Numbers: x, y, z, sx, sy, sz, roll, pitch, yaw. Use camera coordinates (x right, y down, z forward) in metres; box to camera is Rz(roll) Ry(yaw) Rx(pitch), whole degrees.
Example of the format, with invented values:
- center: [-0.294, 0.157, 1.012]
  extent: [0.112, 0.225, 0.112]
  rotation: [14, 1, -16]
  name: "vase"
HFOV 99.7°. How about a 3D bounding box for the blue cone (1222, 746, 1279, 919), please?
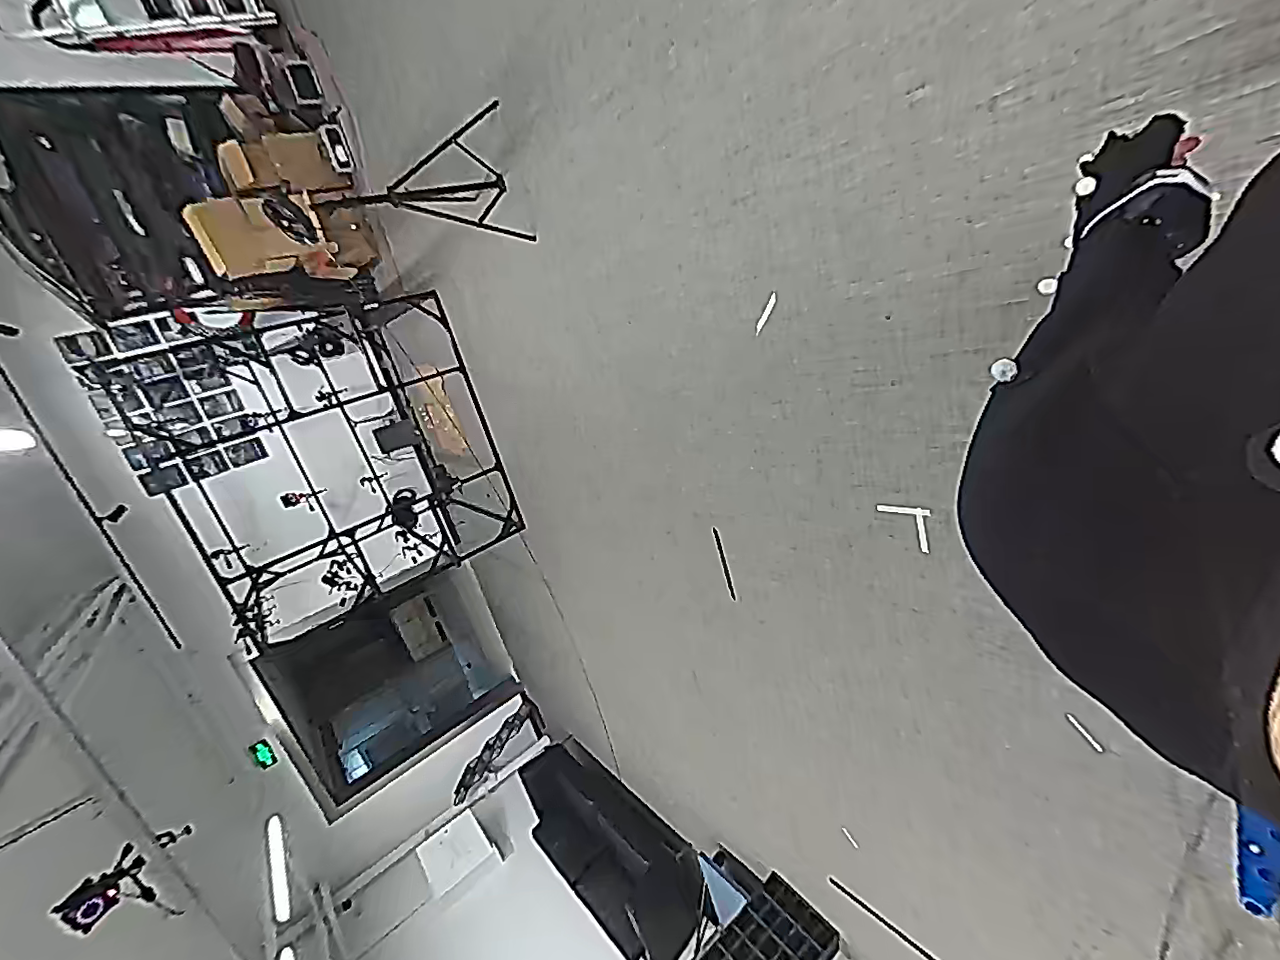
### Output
- center: [1.381, 0.780, 1.164]
  extent: [0.193, 0.380, 0.192]
  rotation: [34, 140, 40]
  name: "blue cone"
